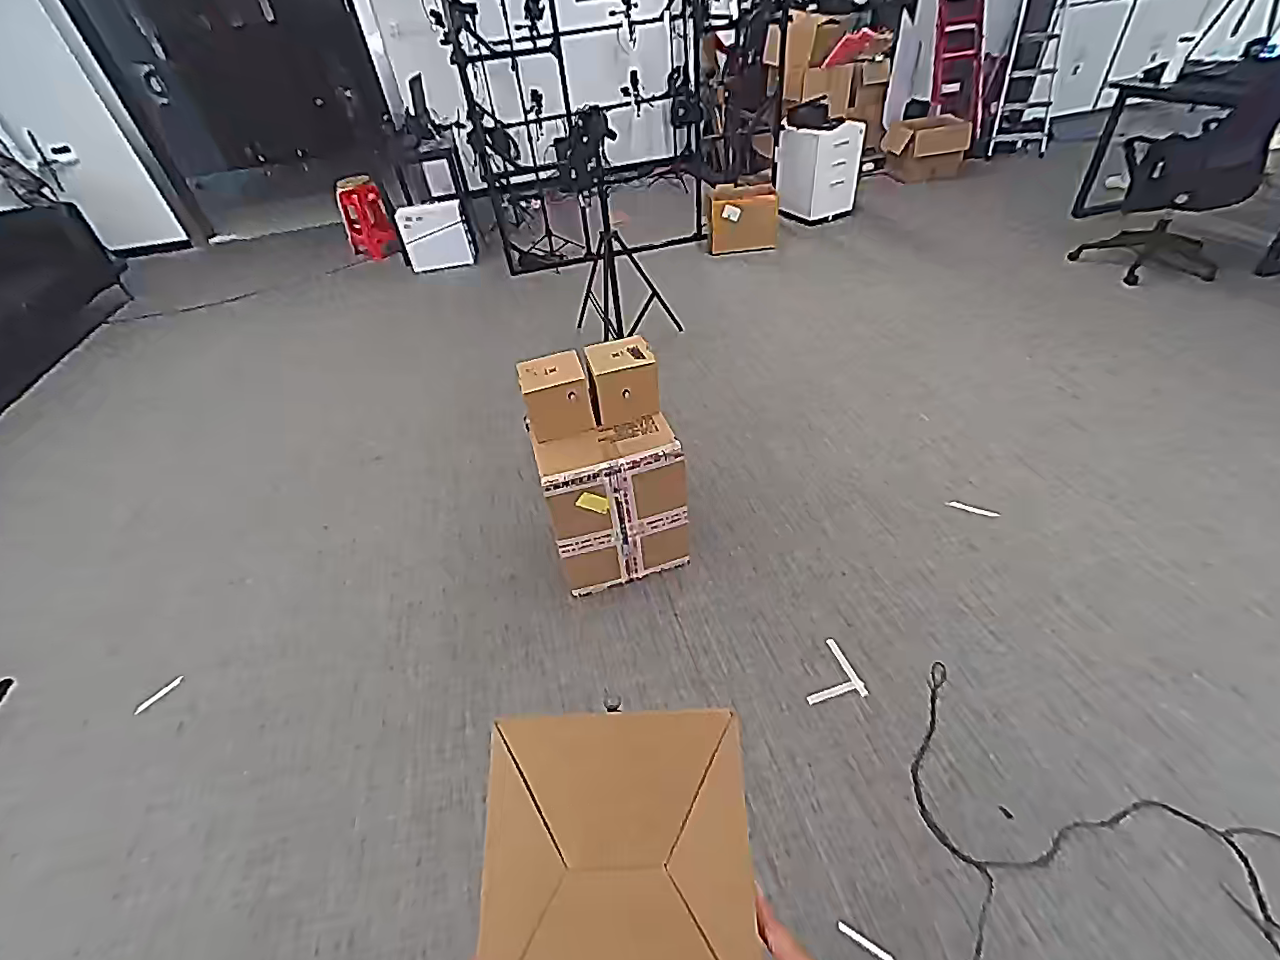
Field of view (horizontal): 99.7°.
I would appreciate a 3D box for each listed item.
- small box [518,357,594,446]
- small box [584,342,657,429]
[{"bbox_3d":[-0.236,-0.222,1.539,0.179,0.176,0.168,-16,42,-6],"label":"small box"},{"bbox_3d":[-0.055,-0.273,1.570,0.179,0.176,0.168,-14,43,-9],"label":"small box"}]
